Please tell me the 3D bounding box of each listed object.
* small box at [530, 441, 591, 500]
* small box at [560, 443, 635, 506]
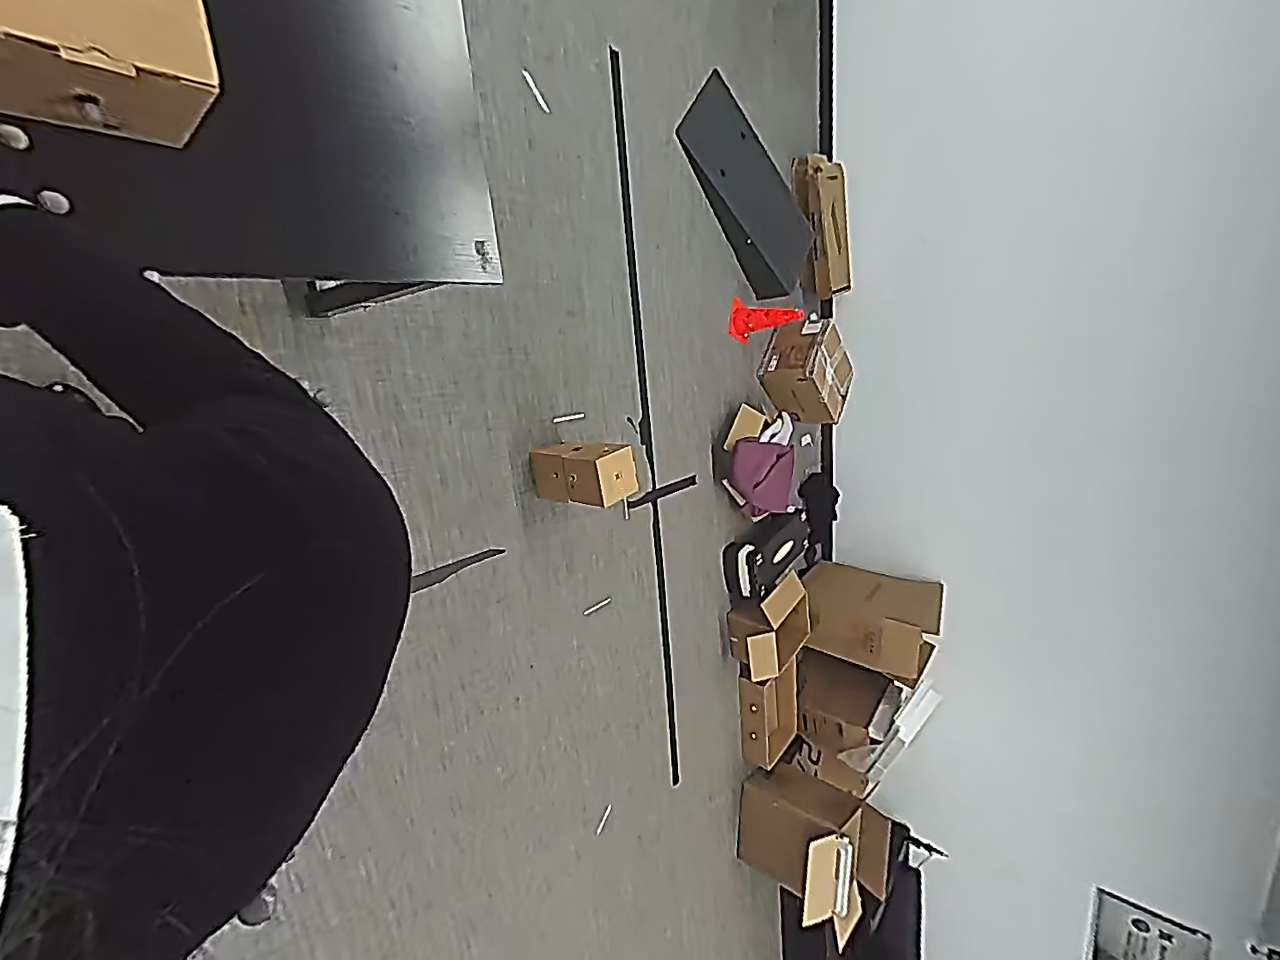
[{"bbox_3d":[-0.276,-0.039,1.938,0.168,0.176,0.179,-24,114,-45],"label":"small box"},{"bbox_3d":[-0.145,-0.026,1.841,0.179,0.176,0.168,-28,115,-43],"label":"small box"}]
